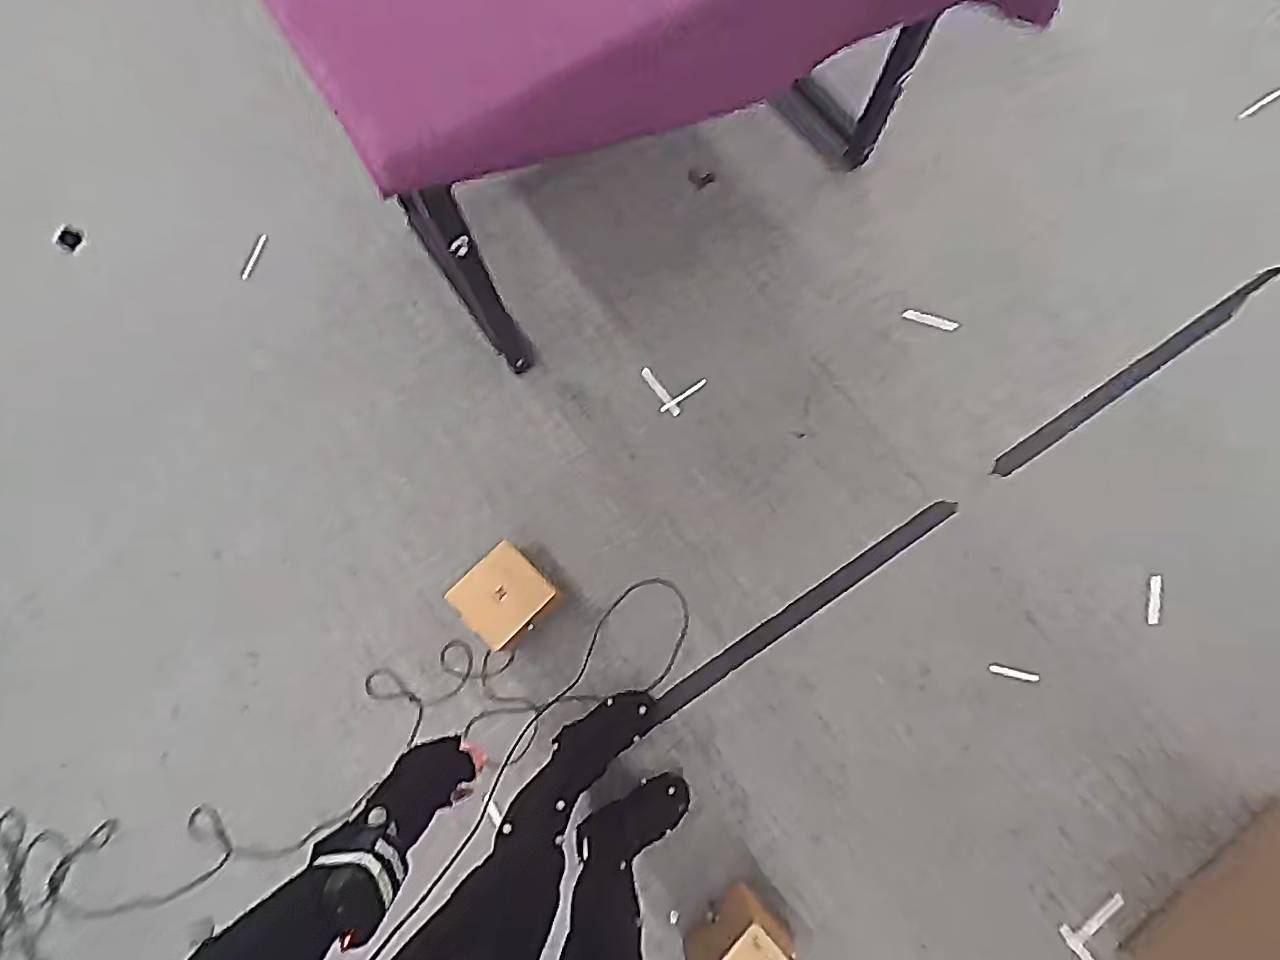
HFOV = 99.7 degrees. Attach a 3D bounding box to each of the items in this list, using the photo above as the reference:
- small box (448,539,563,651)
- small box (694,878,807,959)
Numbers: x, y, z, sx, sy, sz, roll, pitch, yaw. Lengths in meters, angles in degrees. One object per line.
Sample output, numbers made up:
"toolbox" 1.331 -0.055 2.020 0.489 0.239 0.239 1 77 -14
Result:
"small box" -0.291 0.259 1.217 0.168 0.176 0.179 43 79 8
"small box" 0.219 0.945 1.057 0.179 0.176 0.168 -43 80 -8
